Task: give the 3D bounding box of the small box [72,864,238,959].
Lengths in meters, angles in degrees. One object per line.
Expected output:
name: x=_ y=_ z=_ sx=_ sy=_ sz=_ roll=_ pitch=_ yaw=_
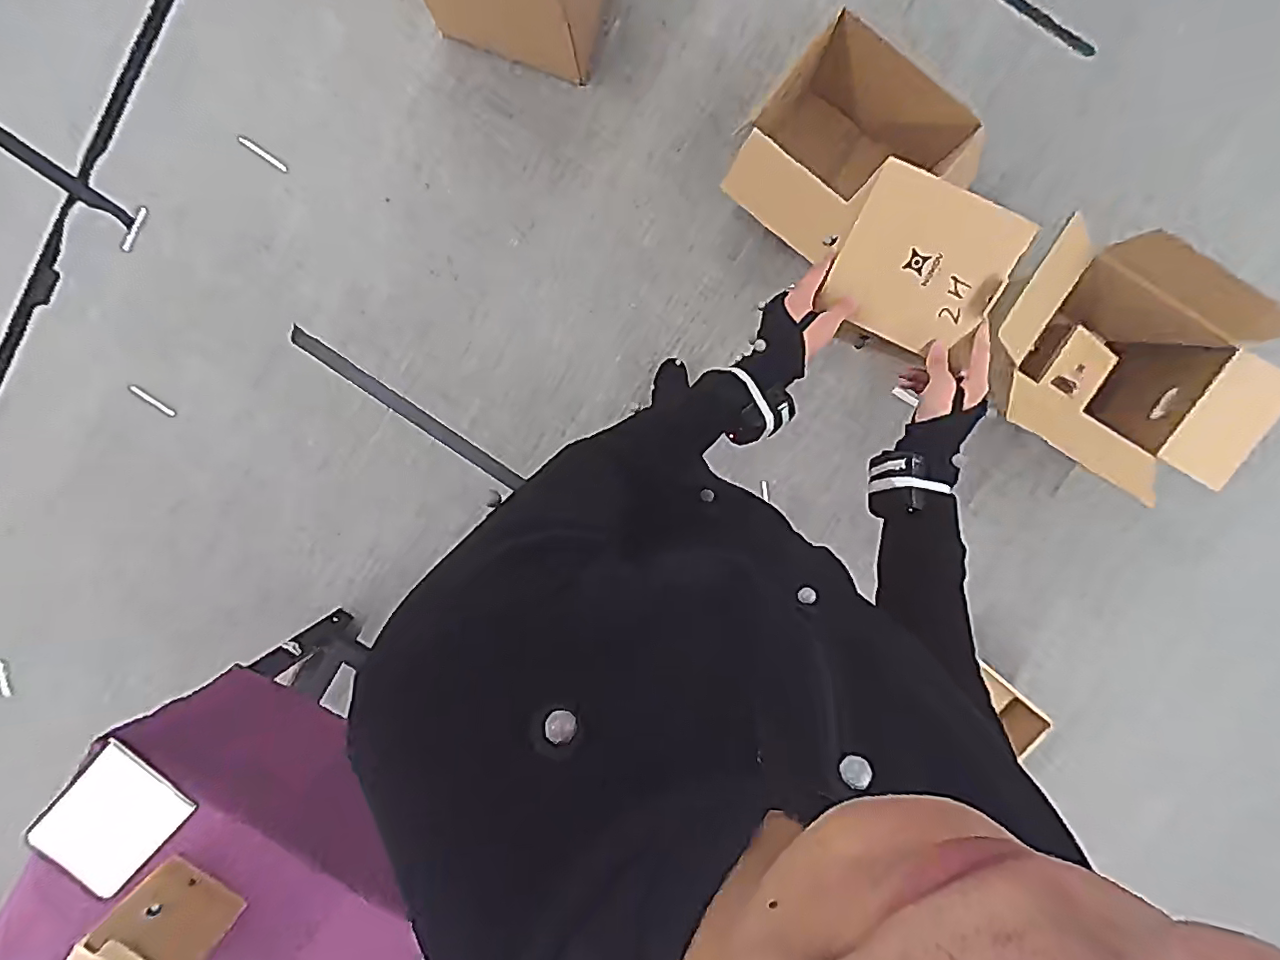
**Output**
small box: x=-0.841 y=0.816 z=0.921 sx=0.168 sy=0.176 sz=0.179 roll=39 pitch=97 yaw=-3
